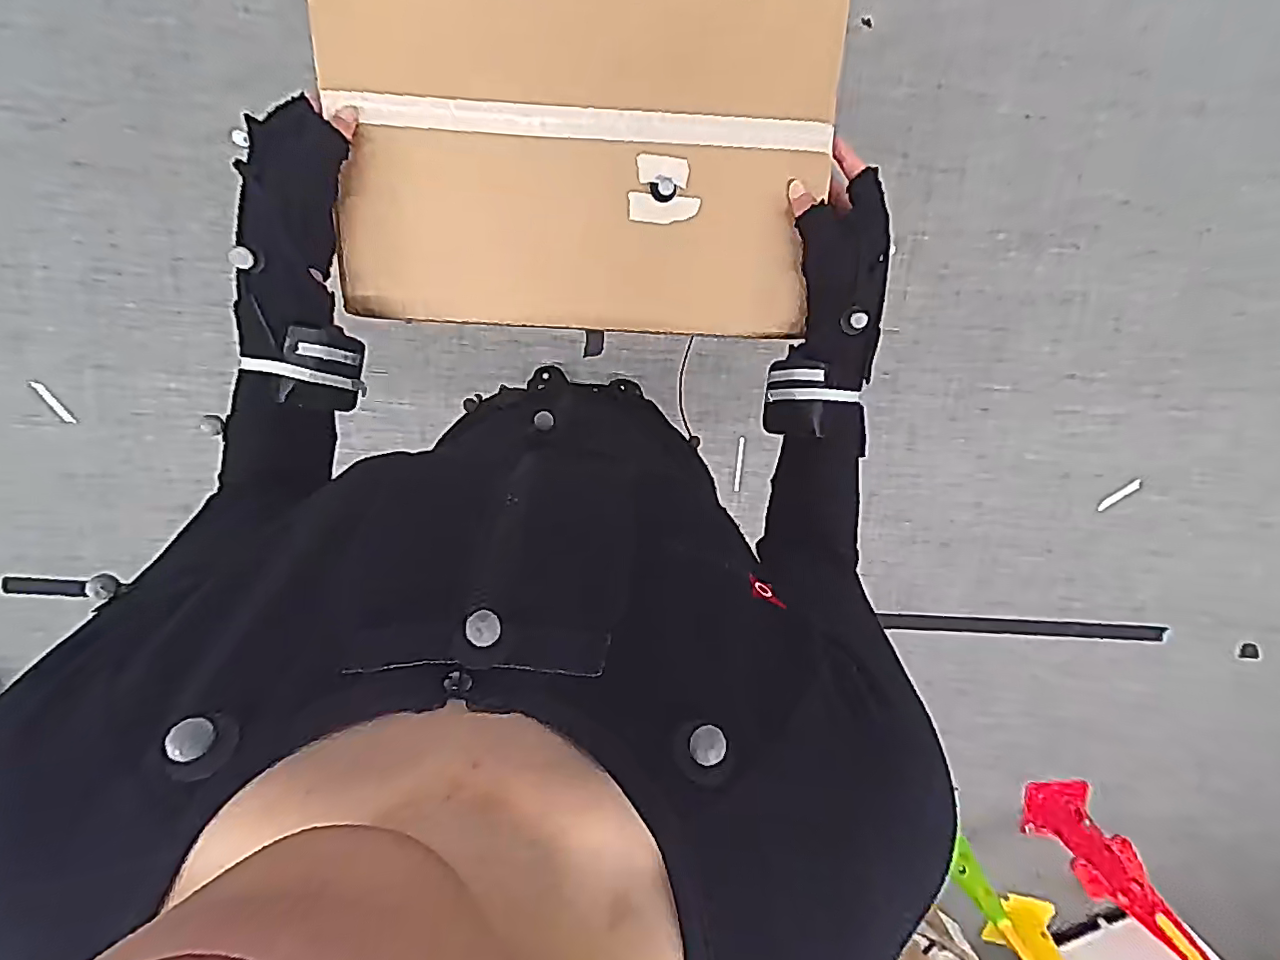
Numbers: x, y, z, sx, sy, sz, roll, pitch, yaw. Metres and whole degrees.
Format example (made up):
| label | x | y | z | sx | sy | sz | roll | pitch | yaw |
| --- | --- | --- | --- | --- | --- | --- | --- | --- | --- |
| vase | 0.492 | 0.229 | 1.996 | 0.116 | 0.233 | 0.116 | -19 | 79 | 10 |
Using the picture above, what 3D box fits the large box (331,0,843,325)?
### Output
| label | x | y | z | sx | sy | sz | roll | pitch | yaw |
| --- | --- | --- | --- | --- | --- | --- | --- | --- | --- |
| large box | -0.048 | -0.333 | 0.585 | 0.408 | 0.320 | 0.320 | 1 | 107 | -3 |
